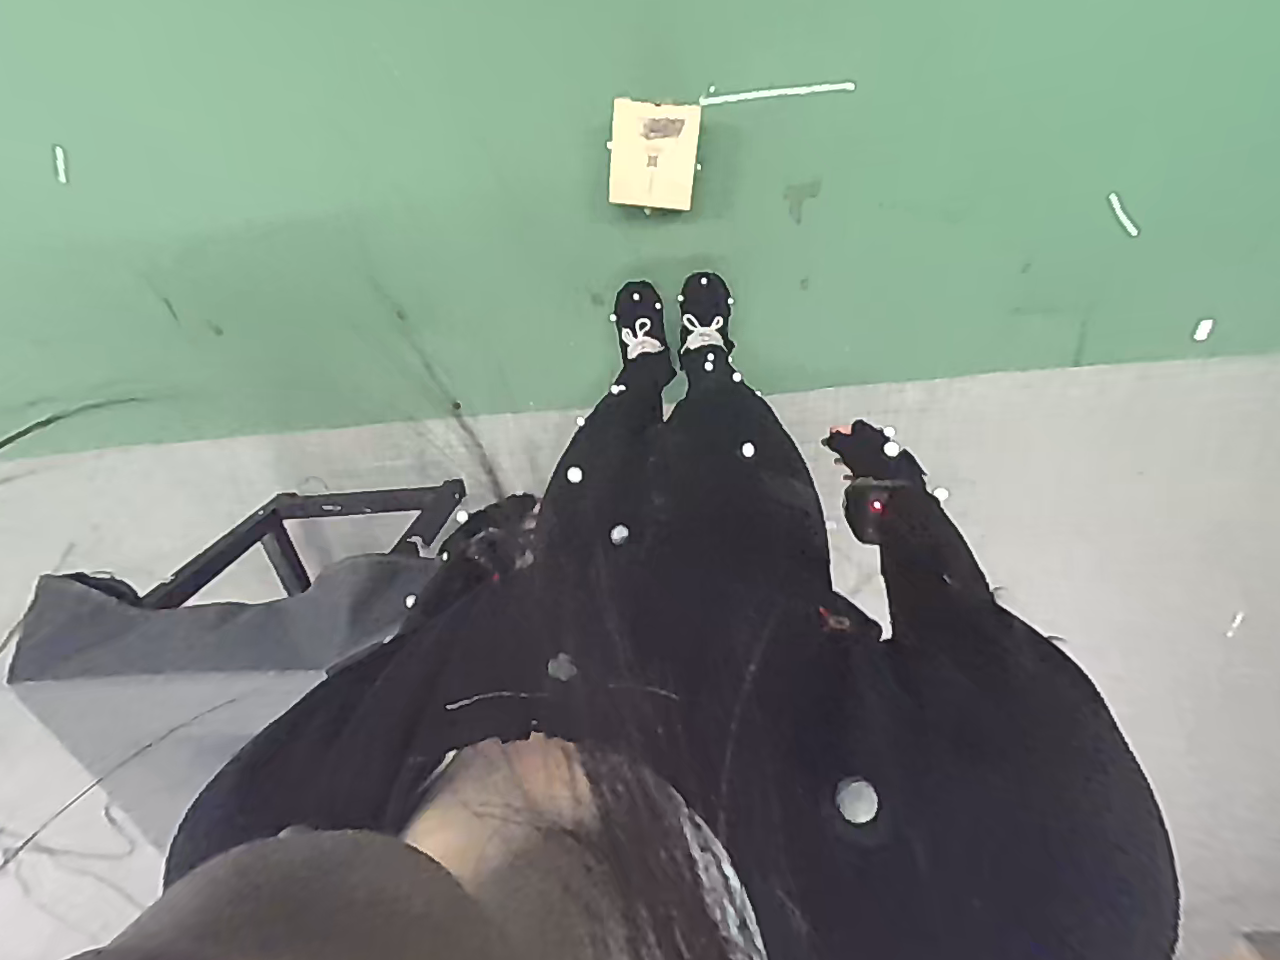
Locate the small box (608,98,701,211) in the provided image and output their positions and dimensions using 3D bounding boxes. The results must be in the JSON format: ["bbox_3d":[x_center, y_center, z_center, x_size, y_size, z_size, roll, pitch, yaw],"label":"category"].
[{"bbox_3d":[0.027,-0.655,1.103,0.168,0.176,0.179,6,118,0],"label":"small box"}]
